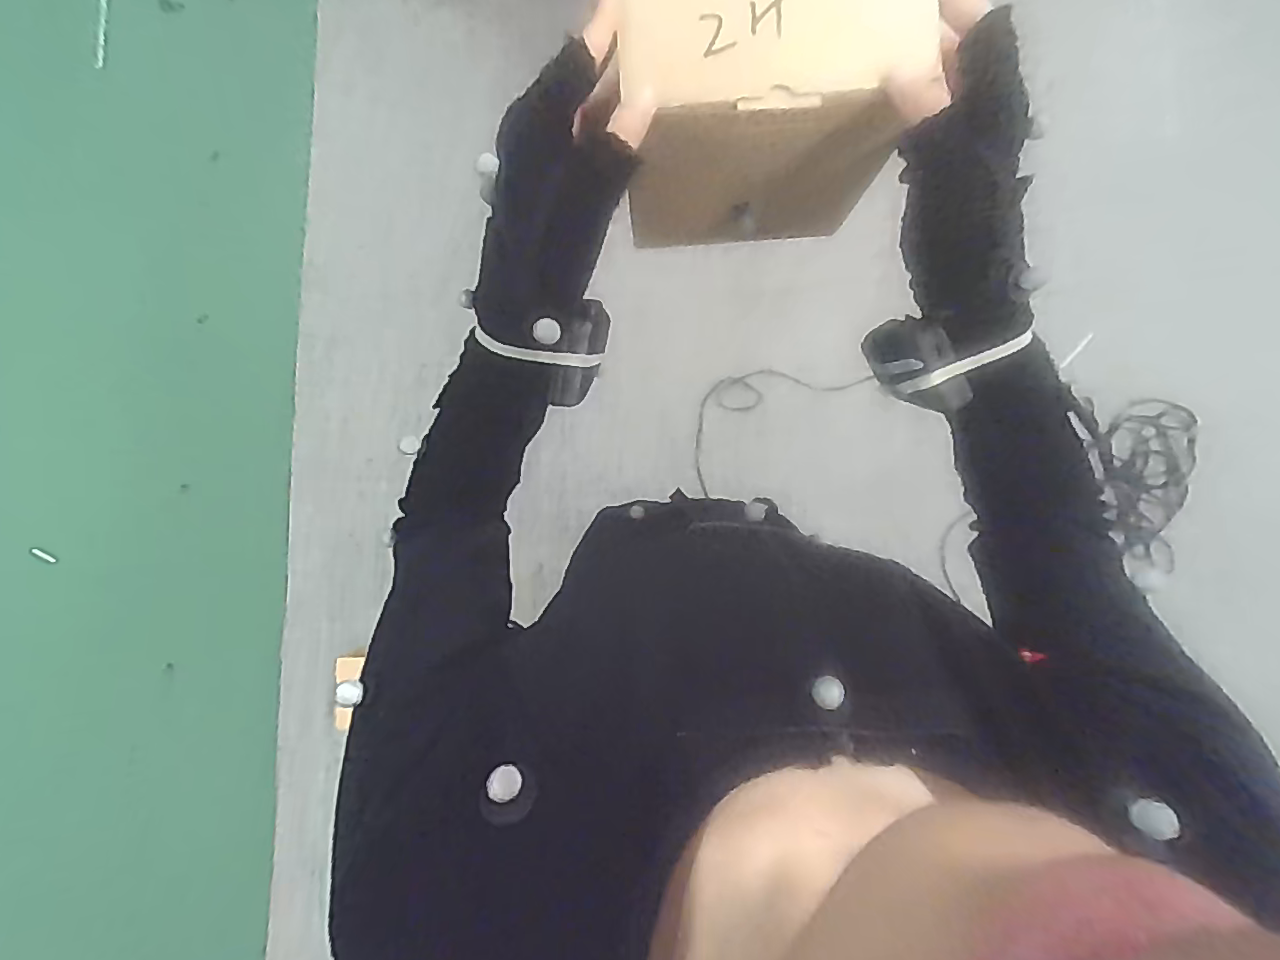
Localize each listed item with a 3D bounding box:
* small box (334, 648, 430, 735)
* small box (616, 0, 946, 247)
[{"bbox_3d":[-0.651,0.530,1.379,0.168,0.176,0.179,-1,85,1],"label":"small box"},{"bbox_3d":[0.070,-0.279,0.354,0.168,0.176,0.179,-3,89,3],"label":"small box"}]
